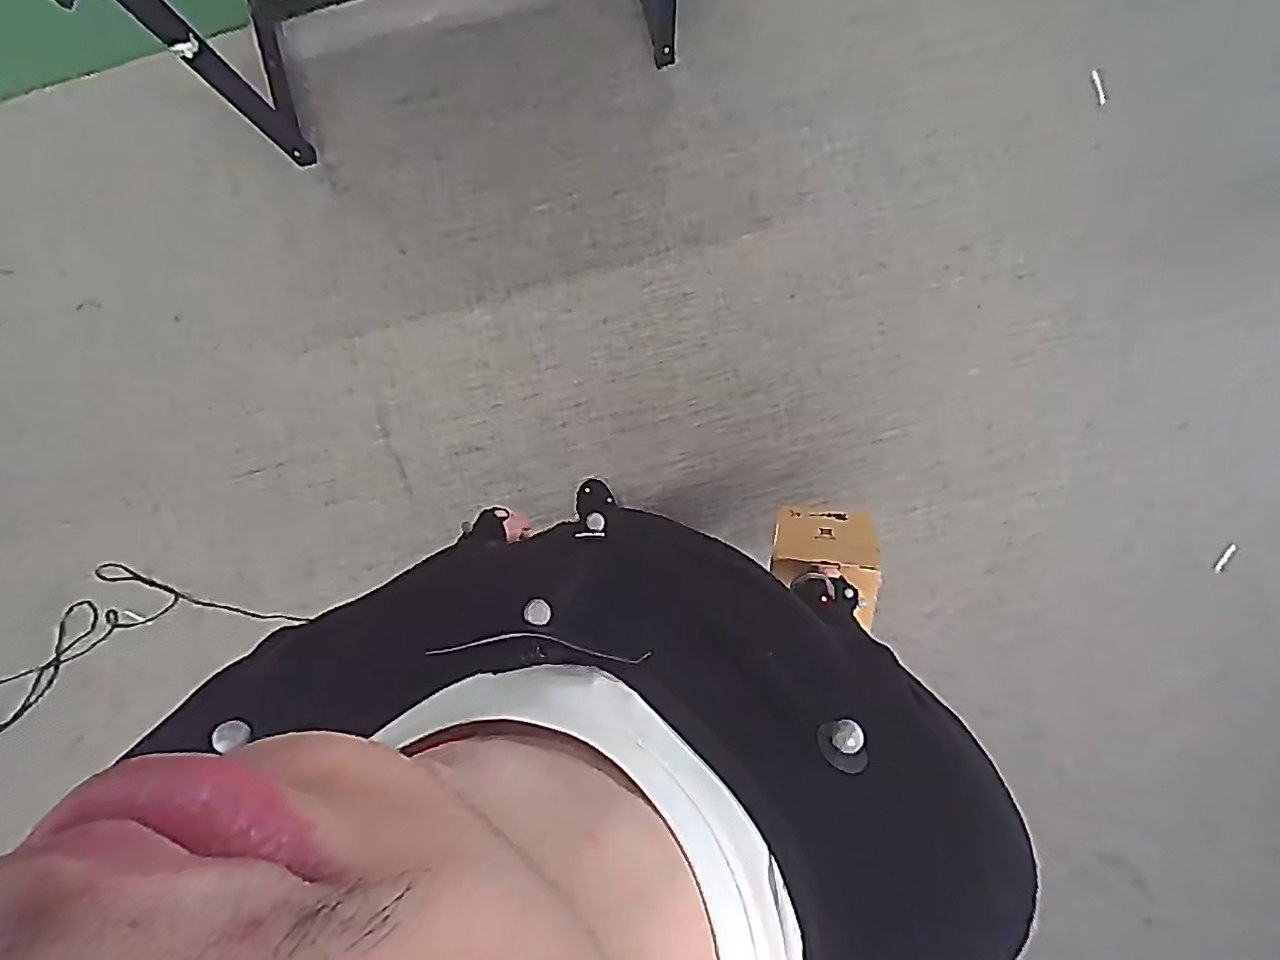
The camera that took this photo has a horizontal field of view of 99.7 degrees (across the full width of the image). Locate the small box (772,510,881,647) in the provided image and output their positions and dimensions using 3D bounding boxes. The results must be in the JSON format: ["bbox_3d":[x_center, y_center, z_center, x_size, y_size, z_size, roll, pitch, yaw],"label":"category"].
[{"bbox_3d":[0.323,0.170,0.953,0.168,0.179,0.176,3,116,16],"label":"small box"}]
